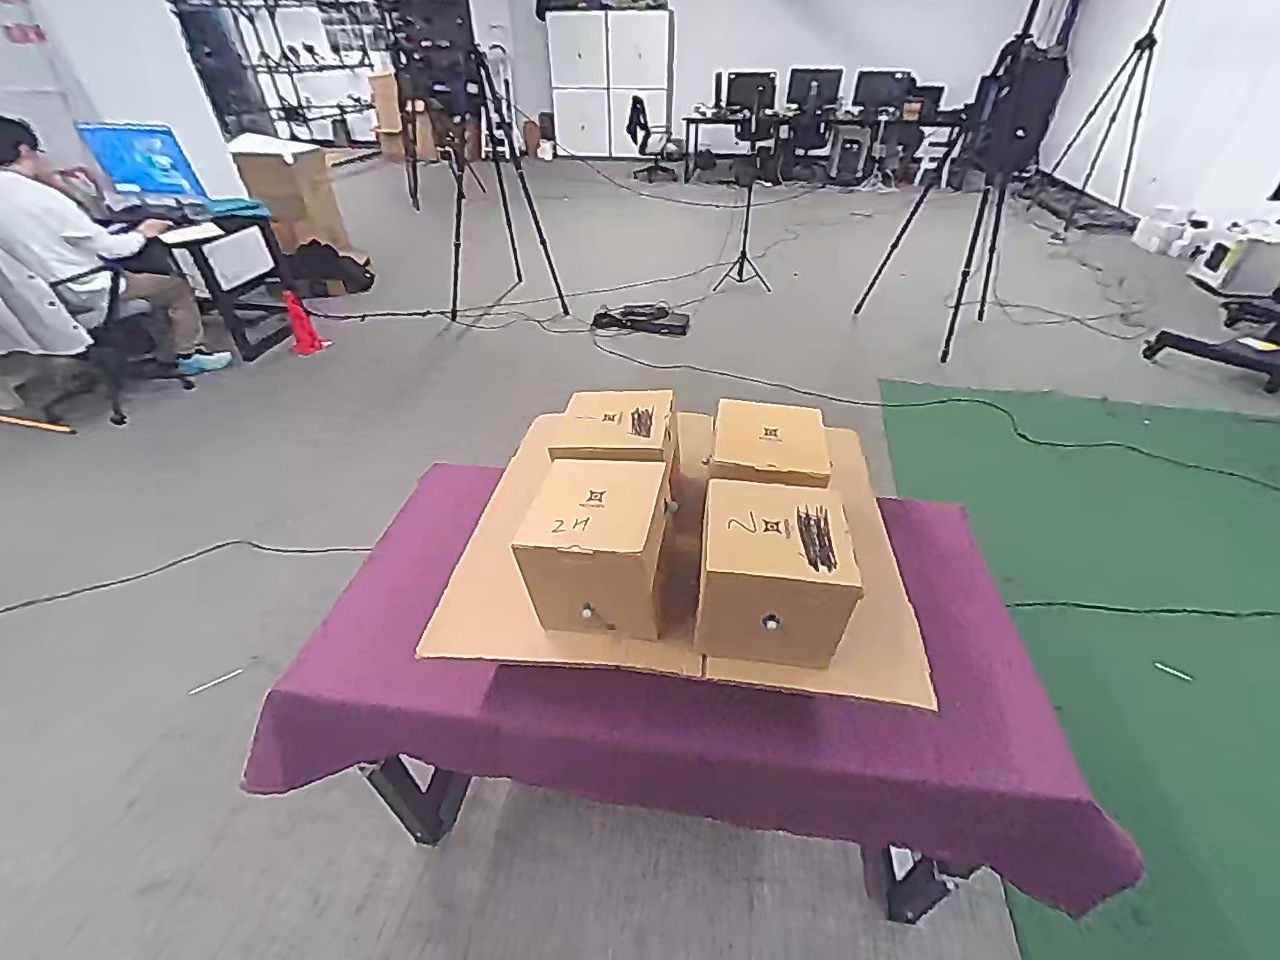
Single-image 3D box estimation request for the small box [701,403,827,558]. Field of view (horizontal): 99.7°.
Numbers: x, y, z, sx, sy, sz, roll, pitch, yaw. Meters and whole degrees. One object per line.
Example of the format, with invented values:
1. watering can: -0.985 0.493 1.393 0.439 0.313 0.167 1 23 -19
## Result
1. small box: 0.191 -0.001 0.874 0.168 0.176 0.179 7 41 6
